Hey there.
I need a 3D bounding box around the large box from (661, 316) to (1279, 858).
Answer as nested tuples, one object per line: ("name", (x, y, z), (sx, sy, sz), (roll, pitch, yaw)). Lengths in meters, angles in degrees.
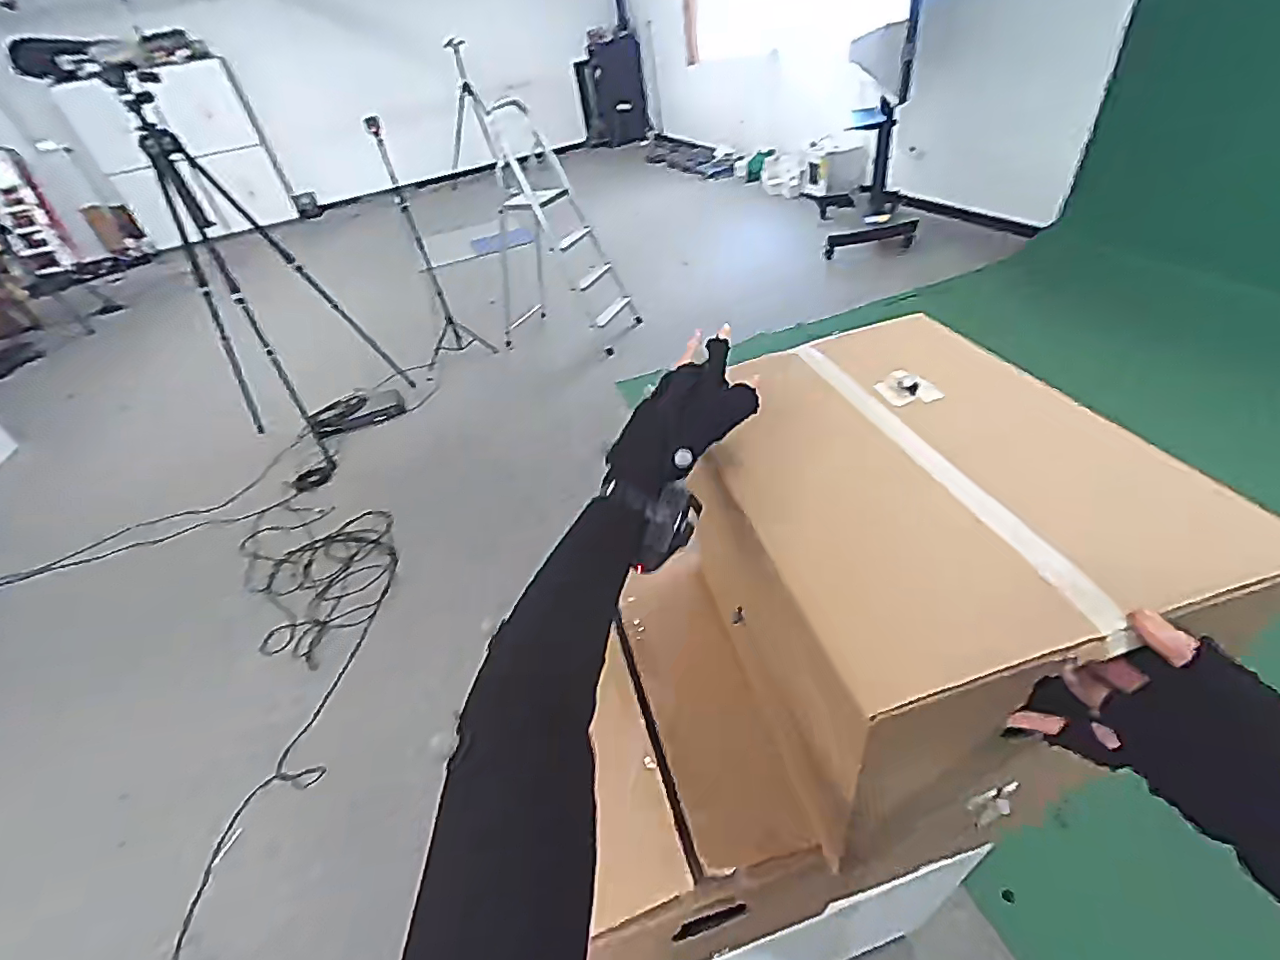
("large box", (0.245, 0.080, 0.567), (0.320, 0.320, 0.408), (-17, 39, -4))
